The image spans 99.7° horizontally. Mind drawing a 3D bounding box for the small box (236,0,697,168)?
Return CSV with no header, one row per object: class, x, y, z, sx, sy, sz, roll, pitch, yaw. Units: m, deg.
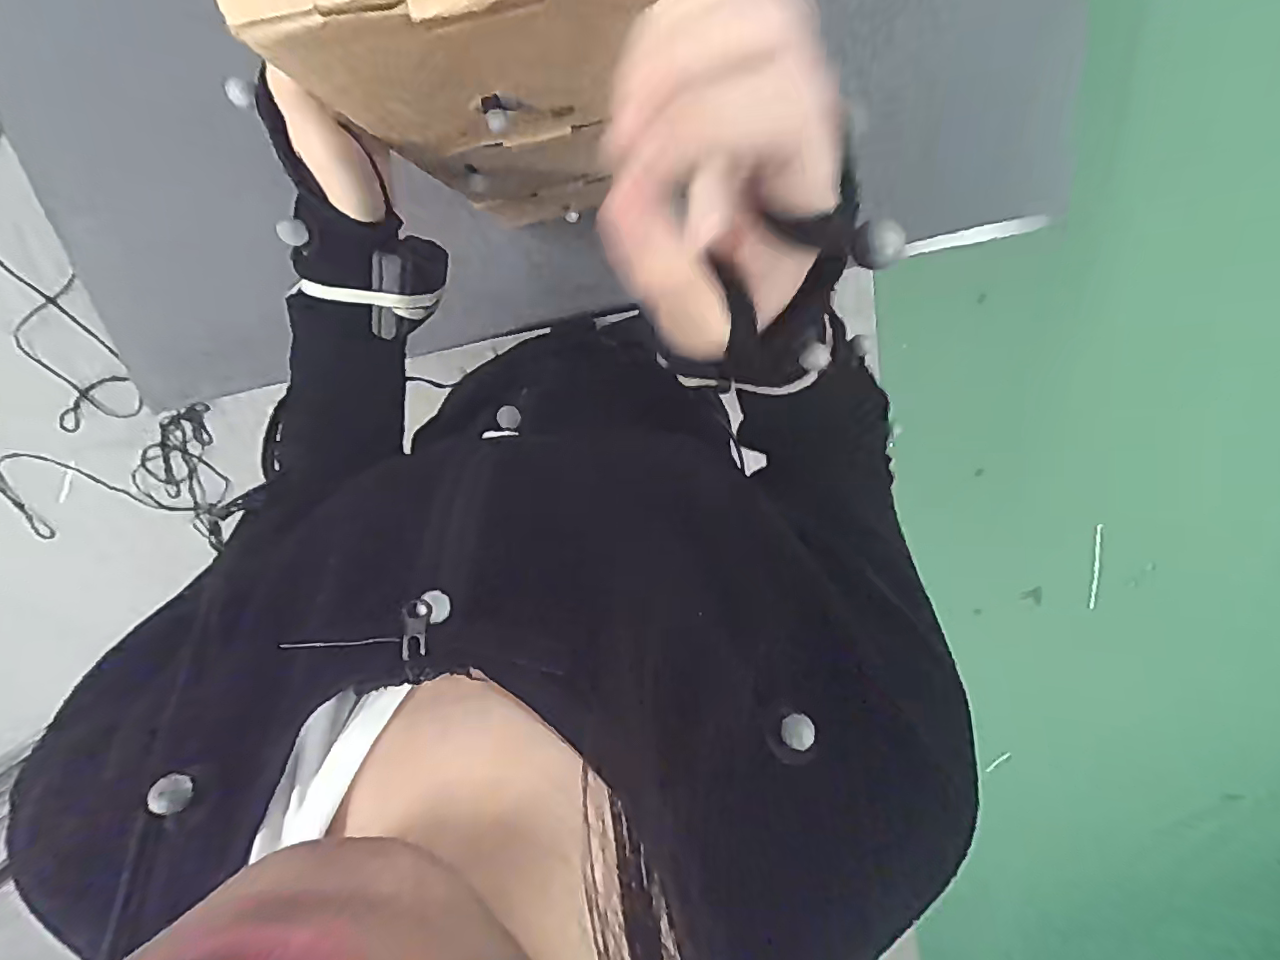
small box,-0.078,-0.269,0.241,0.168,0.176,0.179,-13,109,0
